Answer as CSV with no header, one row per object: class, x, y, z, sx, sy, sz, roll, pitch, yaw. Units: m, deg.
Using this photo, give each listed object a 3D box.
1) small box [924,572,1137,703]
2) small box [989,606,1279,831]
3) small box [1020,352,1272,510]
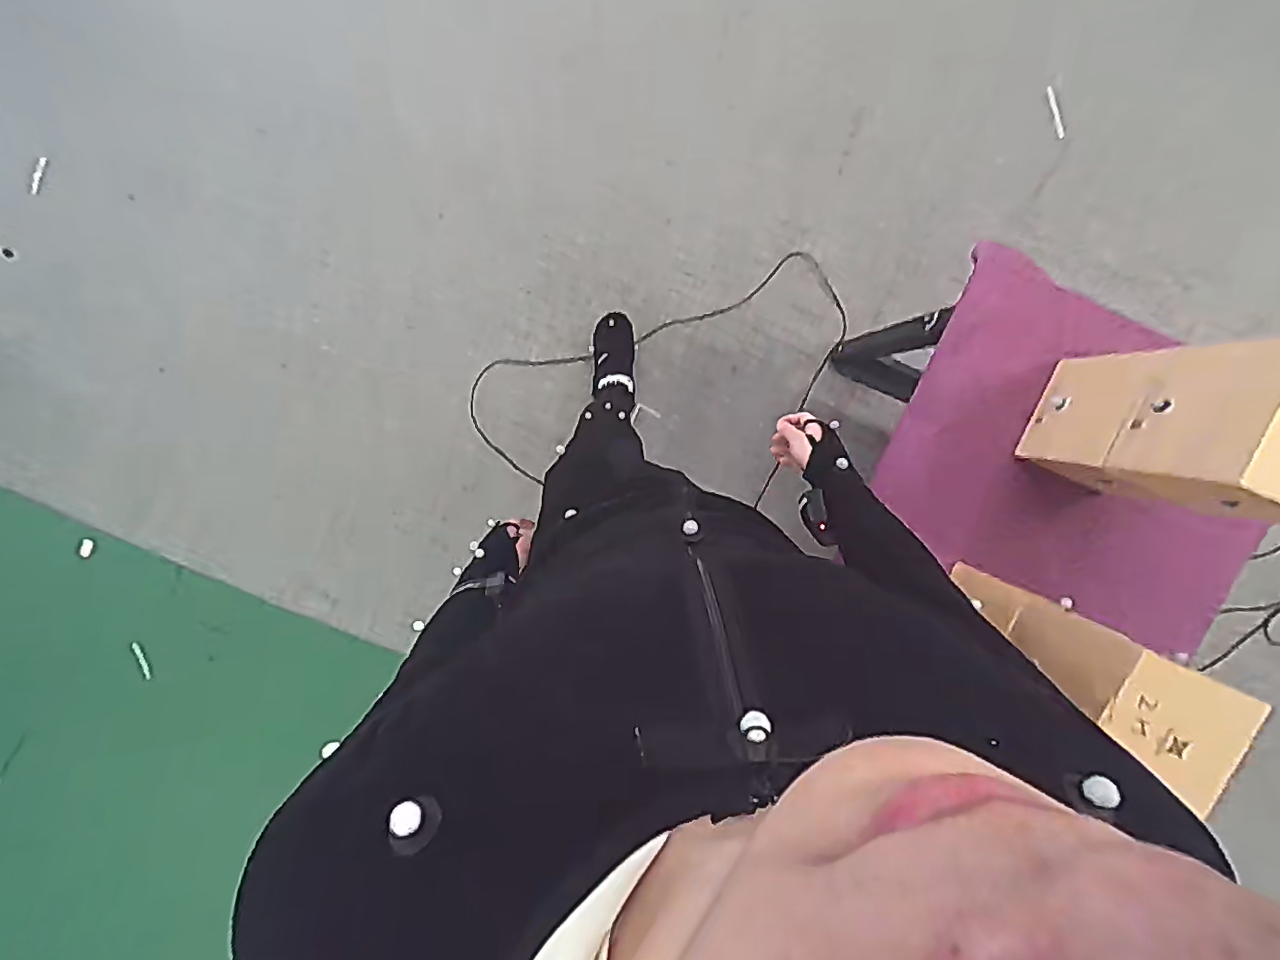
small box,0.582,0.256,0.833,0.179,0.176,0.168,22,95,-5
small box,0.592,0.279,0.670,0.179,0.176,0.168,23,95,-4
small box,0.723,-0.074,0.795,0.179,0.176,0.168,21,96,-3
